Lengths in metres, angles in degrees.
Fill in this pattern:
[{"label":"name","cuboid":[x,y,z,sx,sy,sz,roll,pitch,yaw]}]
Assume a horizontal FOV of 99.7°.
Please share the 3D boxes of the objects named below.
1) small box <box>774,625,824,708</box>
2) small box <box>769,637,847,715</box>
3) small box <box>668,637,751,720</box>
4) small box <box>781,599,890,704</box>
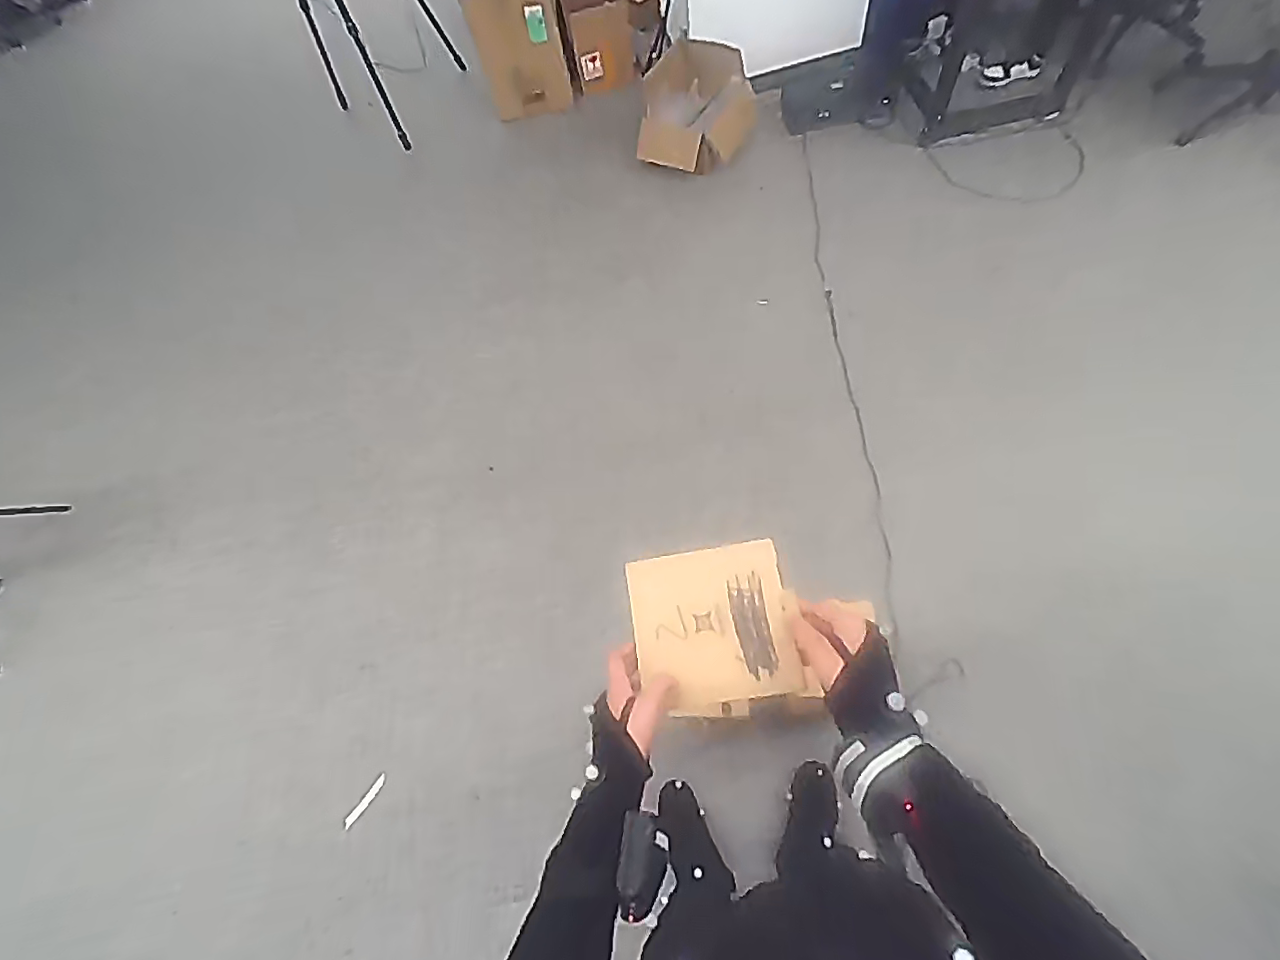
[{"label":"small box","cuboid":[0.409,0.420,1.235,0.179,0.176,0.168,-11,62,5]},{"label":"small box","cuboid":[0.432,0.490,1.378,0.168,0.176,0.179,-12,63,4]},{"label":"small box","cuboid":[0.160,0.461,1.250,0.179,0.176,0.168,-4,63,8]},{"label":"small box","cuboid":[0.381,0.349,1.088,0.168,0.176,0.179,-4,62,8]}]
